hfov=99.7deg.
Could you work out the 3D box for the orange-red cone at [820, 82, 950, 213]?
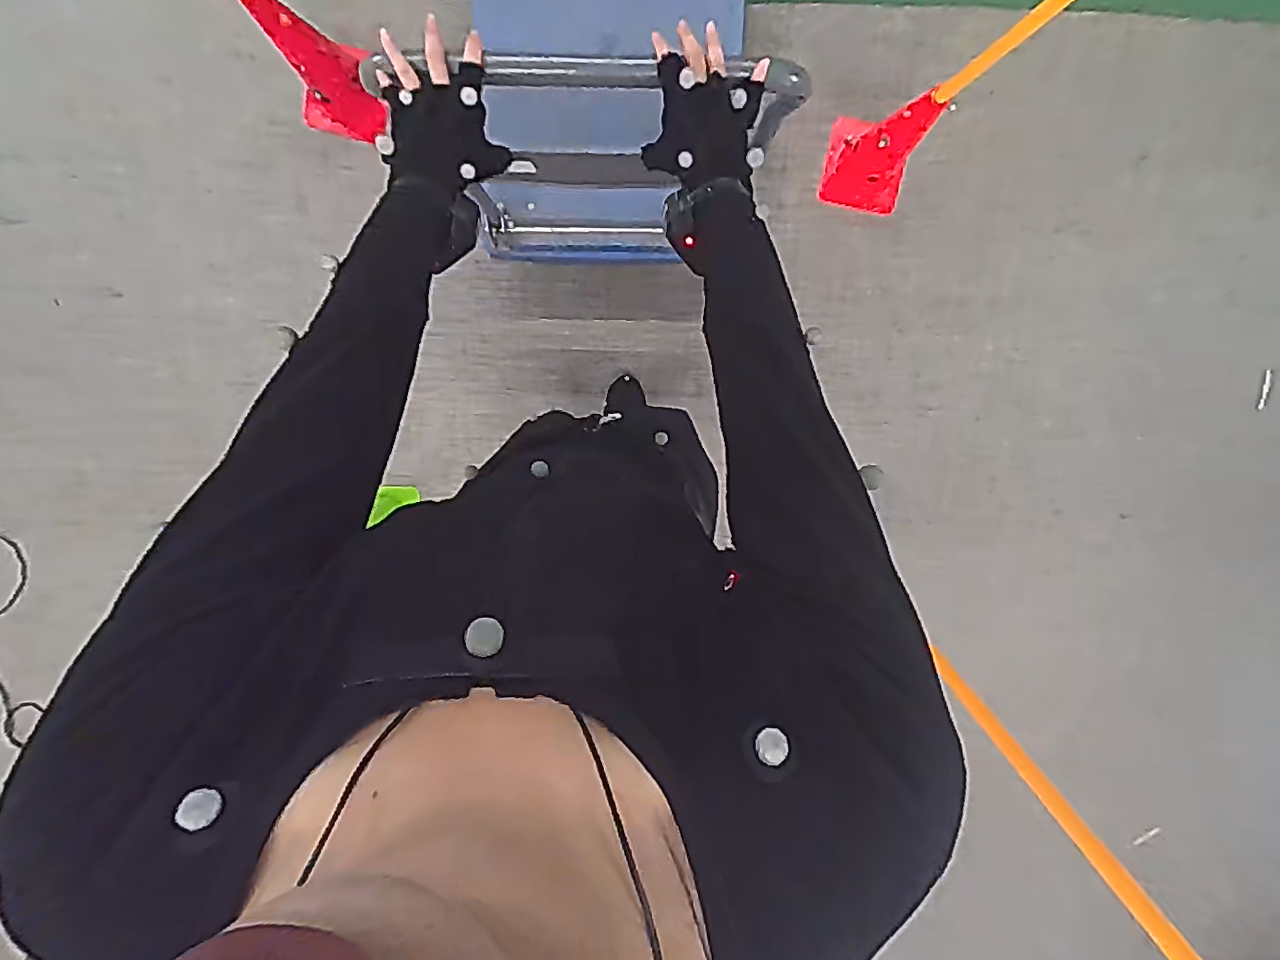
[{"bbox_3d":[0.566,-0.757,1.186,0.198,0.360,0.199,12,101,-2],"label":"orange-red cone"}]
